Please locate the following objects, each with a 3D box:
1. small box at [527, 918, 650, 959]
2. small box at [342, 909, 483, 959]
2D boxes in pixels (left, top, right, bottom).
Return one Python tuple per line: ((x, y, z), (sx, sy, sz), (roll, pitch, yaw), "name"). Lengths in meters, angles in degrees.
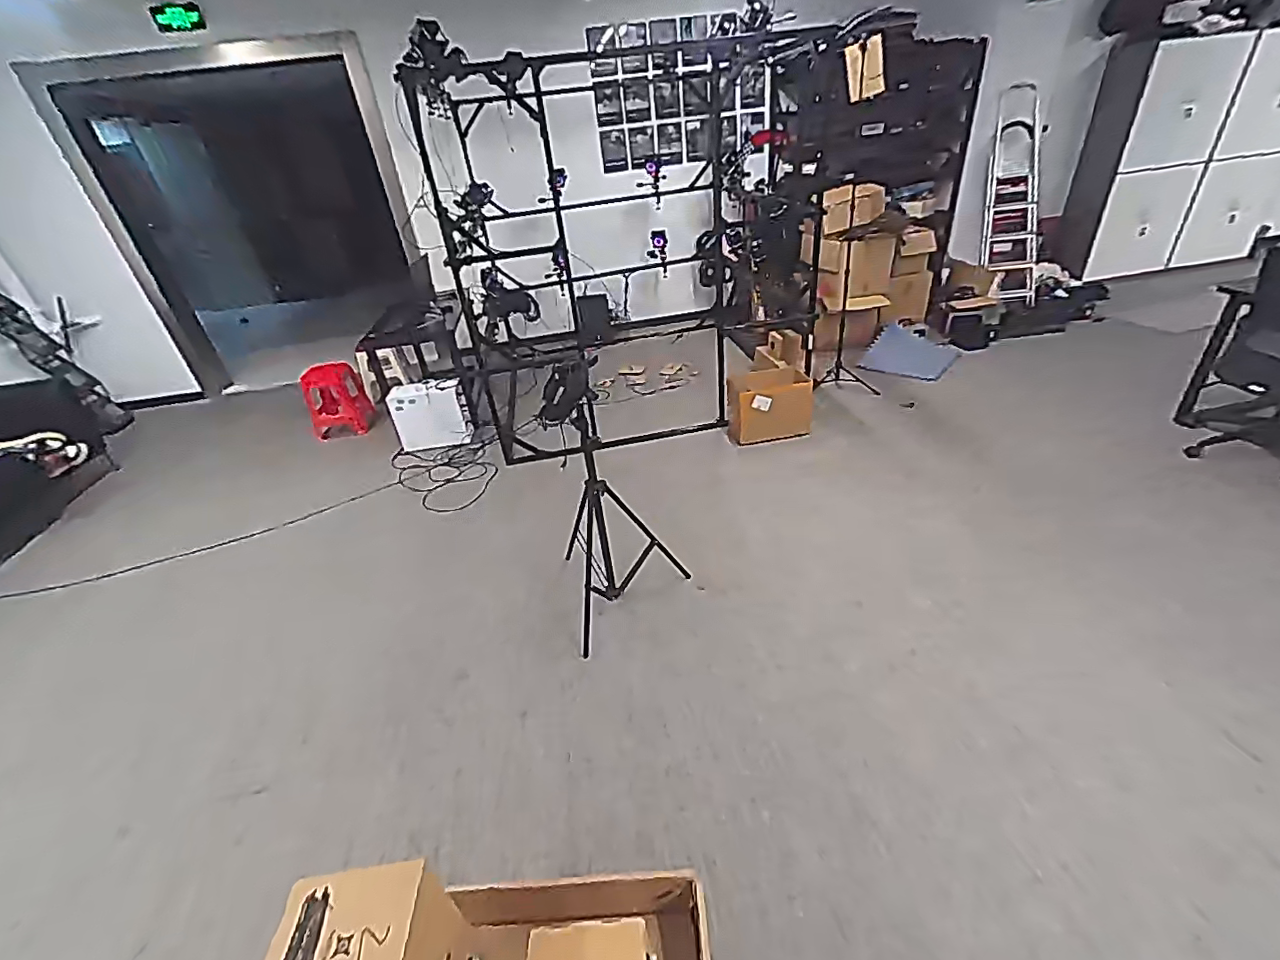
((-0.065, 0.749, 0.745), (0.168, 0.176, 0.179), (-6, 31, 1), "small box")
((-0.330, 0.763, 0.771), (0.168, 0.176, 0.179), (-10, 32, -1), "small box")
